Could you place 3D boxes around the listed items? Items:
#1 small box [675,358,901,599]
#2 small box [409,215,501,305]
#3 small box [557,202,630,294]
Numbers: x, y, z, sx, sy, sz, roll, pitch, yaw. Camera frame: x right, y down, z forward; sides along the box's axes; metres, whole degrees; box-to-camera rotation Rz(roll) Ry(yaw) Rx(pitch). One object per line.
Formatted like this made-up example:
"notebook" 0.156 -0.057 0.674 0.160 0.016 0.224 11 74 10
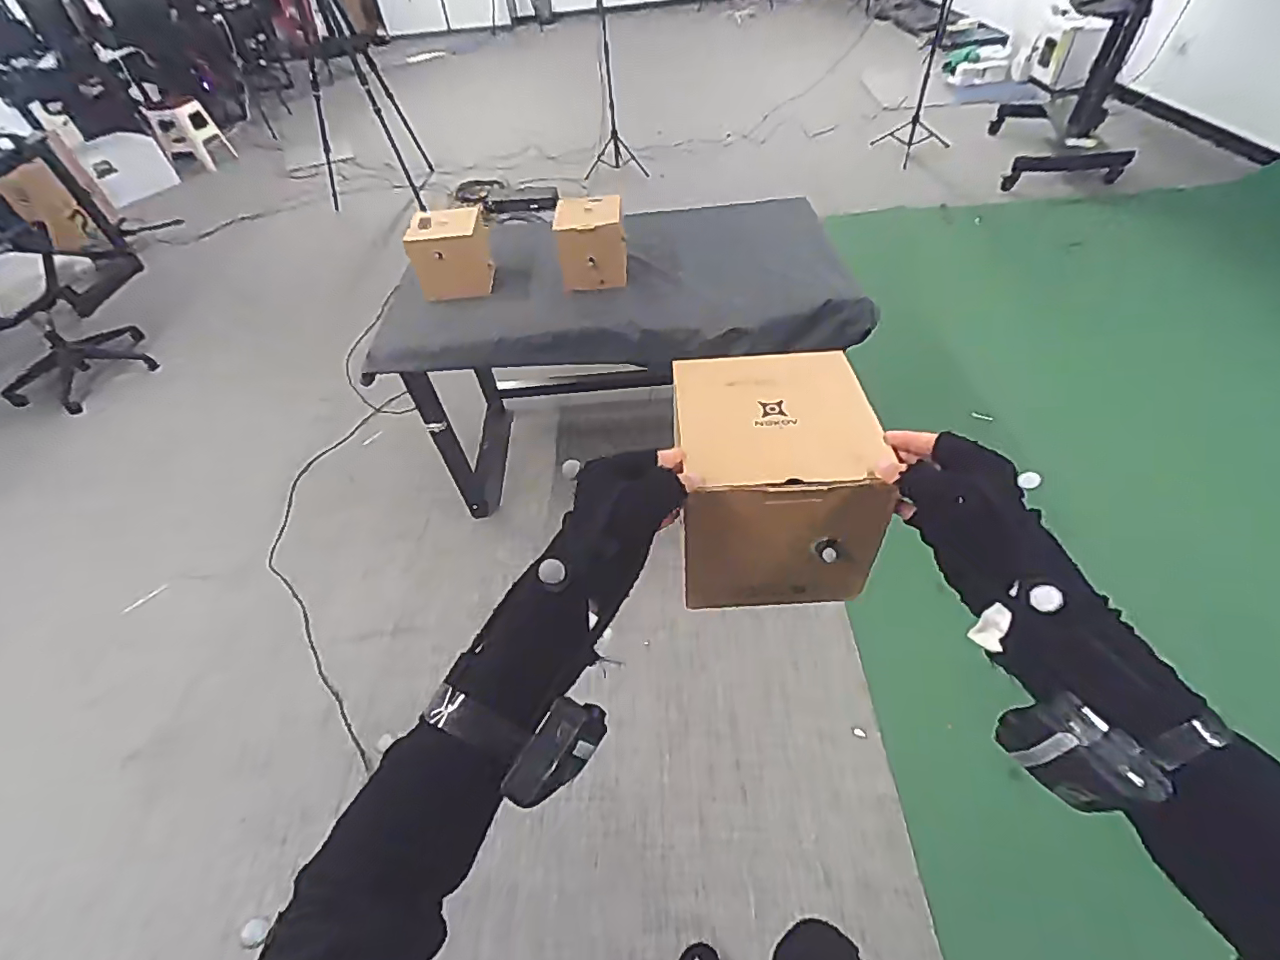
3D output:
"small box" 0.123 0.004 0.526 0.168 0.176 0.179 -3 43 1
"small box" -0.484 -0.583 1.442 0.179 0.176 0.168 -6 48 -1
"small box" -0.115 -0.603 1.423 0.168 0.176 0.179 -3 49 3
